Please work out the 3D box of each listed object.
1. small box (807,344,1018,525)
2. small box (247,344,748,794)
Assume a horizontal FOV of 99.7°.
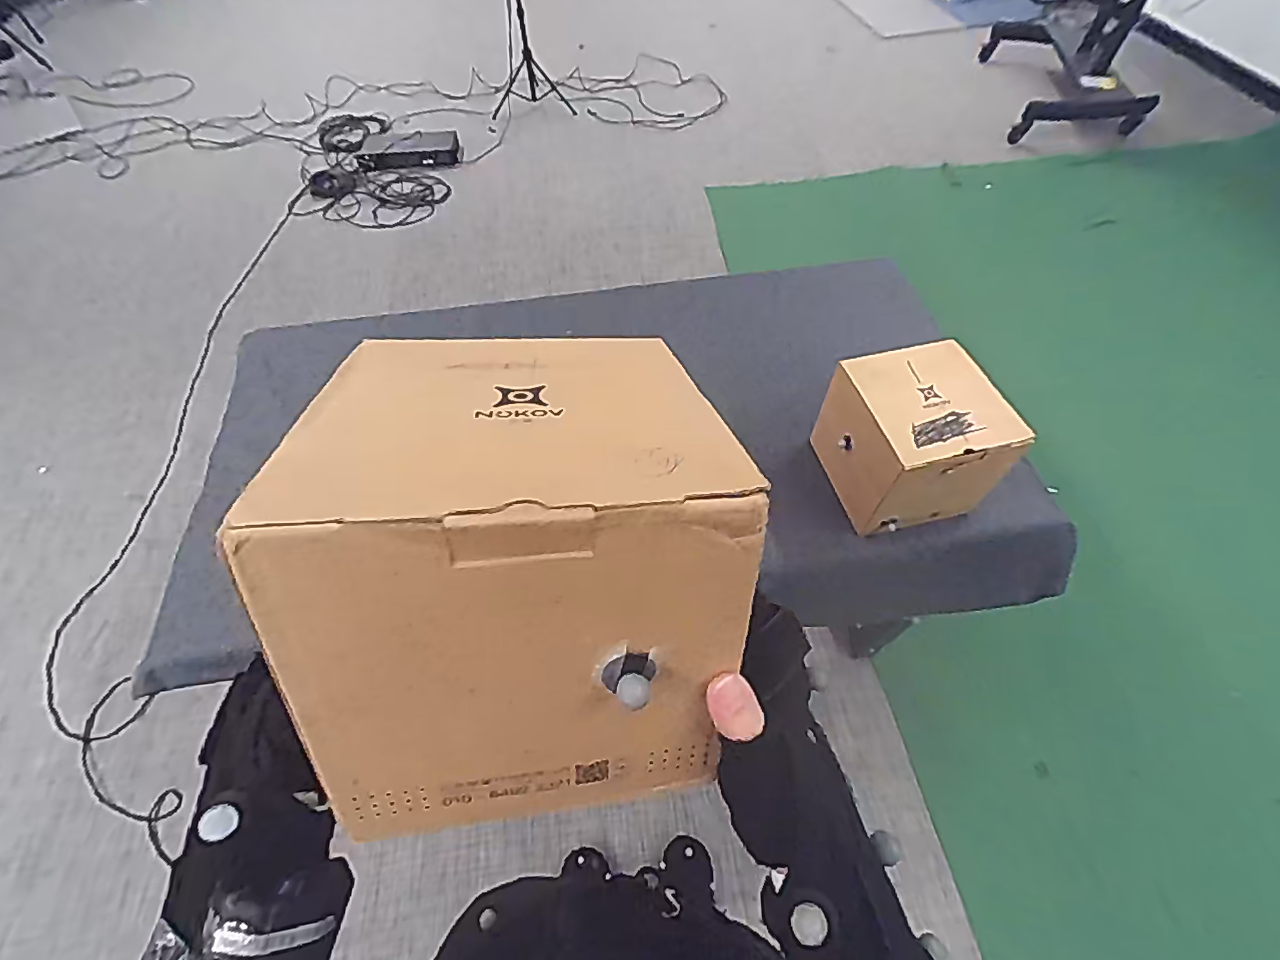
[{"bbox_3d":[0.350,-0.053,0.735,0.168,0.176,0.179,-11,56,-6],"label":"small box"},{"bbox_3d":[-0.060,0.035,0.285,0.168,0.176,0.179,-3,30,-13],"label":"small box"}]
